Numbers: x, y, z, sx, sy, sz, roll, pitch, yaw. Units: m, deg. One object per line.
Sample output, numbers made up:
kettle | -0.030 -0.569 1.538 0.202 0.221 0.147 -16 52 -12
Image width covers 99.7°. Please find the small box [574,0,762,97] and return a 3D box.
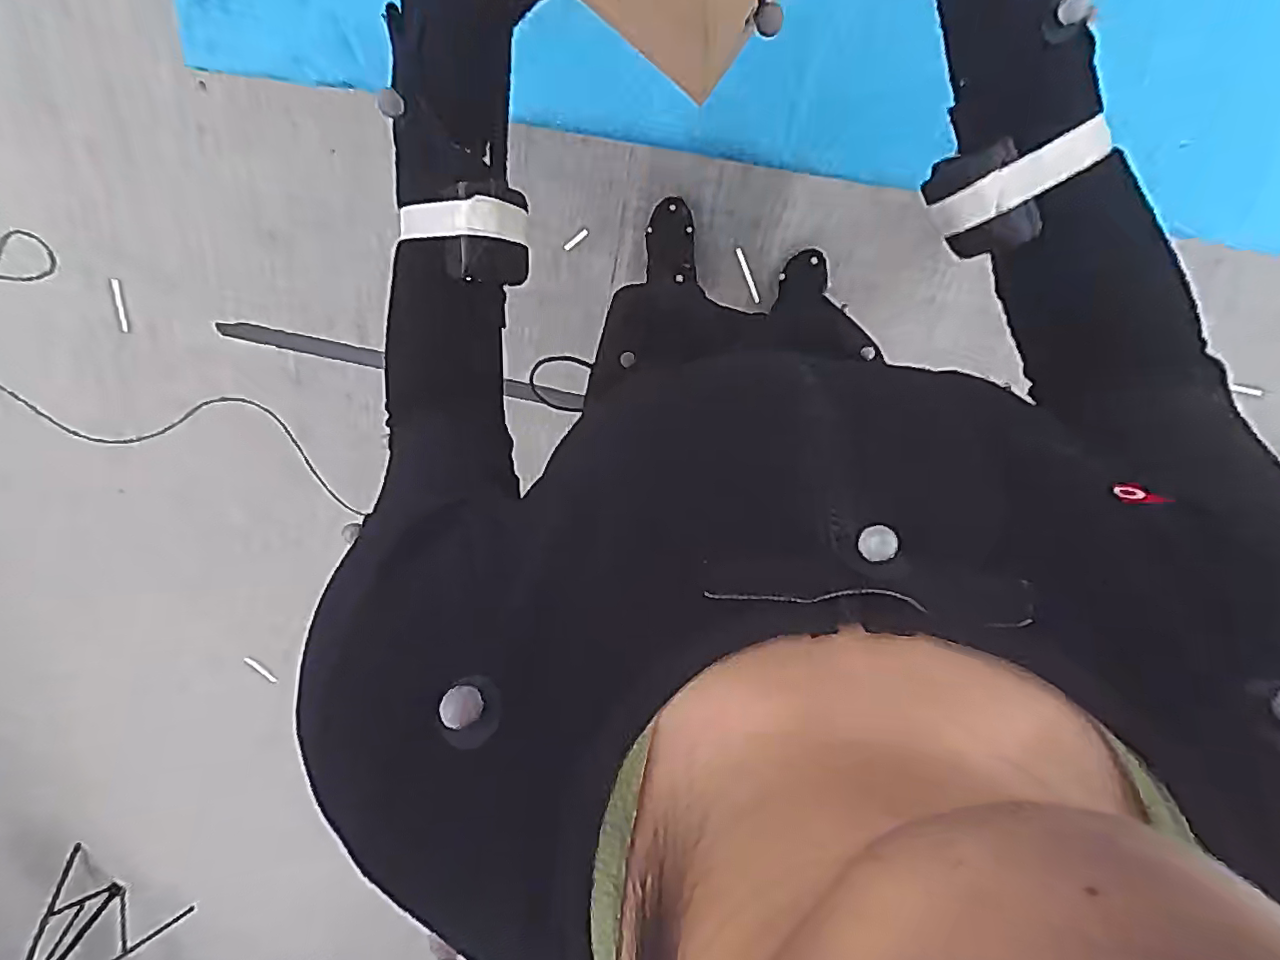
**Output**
small box | 0.014 -0.331 0.241 0.168 0.176 0.179 36 110 -8
